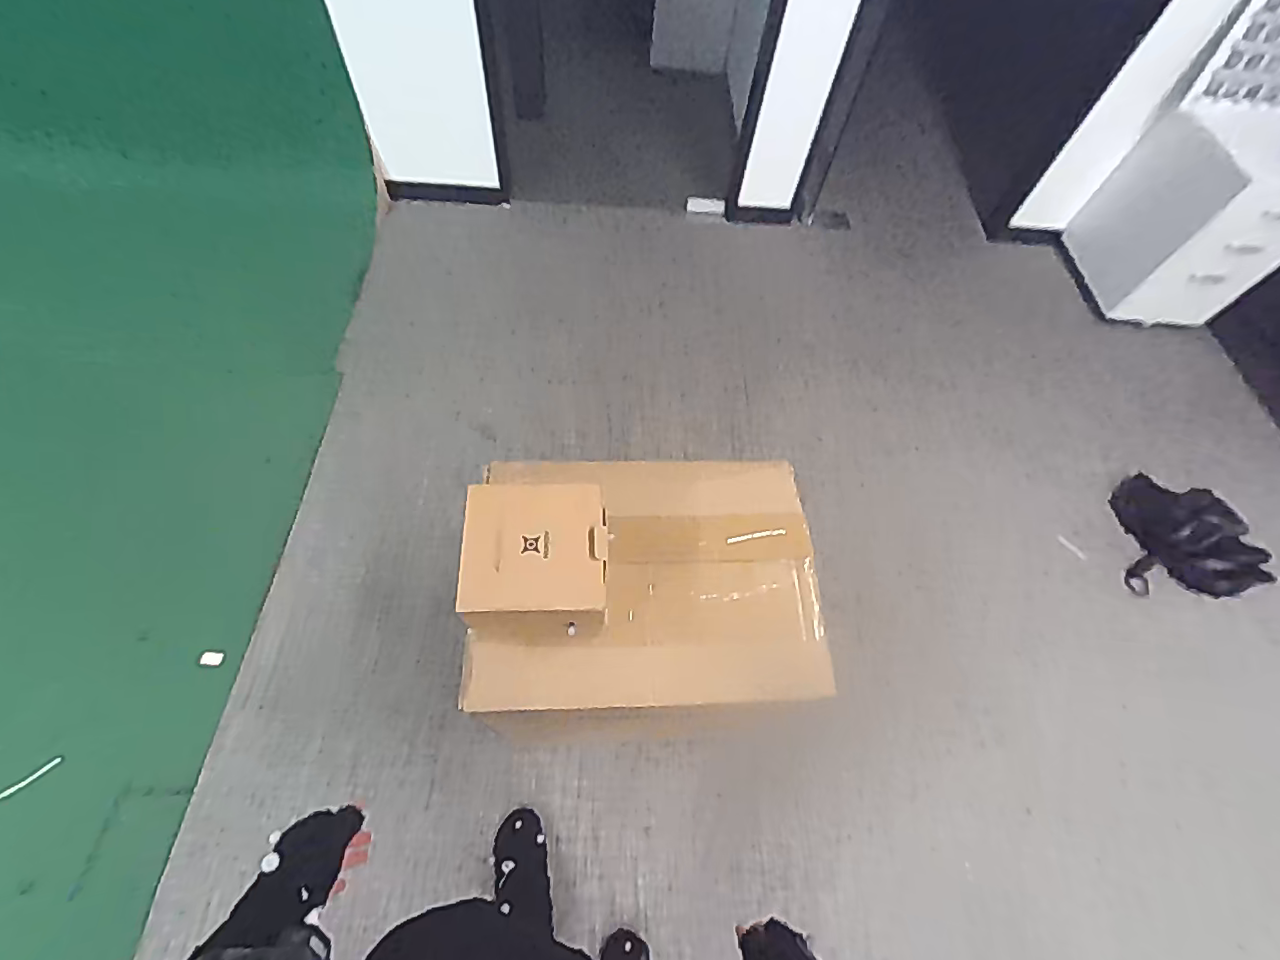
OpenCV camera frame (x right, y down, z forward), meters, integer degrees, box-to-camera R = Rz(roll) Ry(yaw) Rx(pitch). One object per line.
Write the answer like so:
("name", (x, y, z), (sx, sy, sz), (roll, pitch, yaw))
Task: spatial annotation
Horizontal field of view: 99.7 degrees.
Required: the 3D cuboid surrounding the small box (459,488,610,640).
("small box", (-0.134, 0.120, 0.741), (0.179, 0.176, 0.168), (-1, 63, -5))
